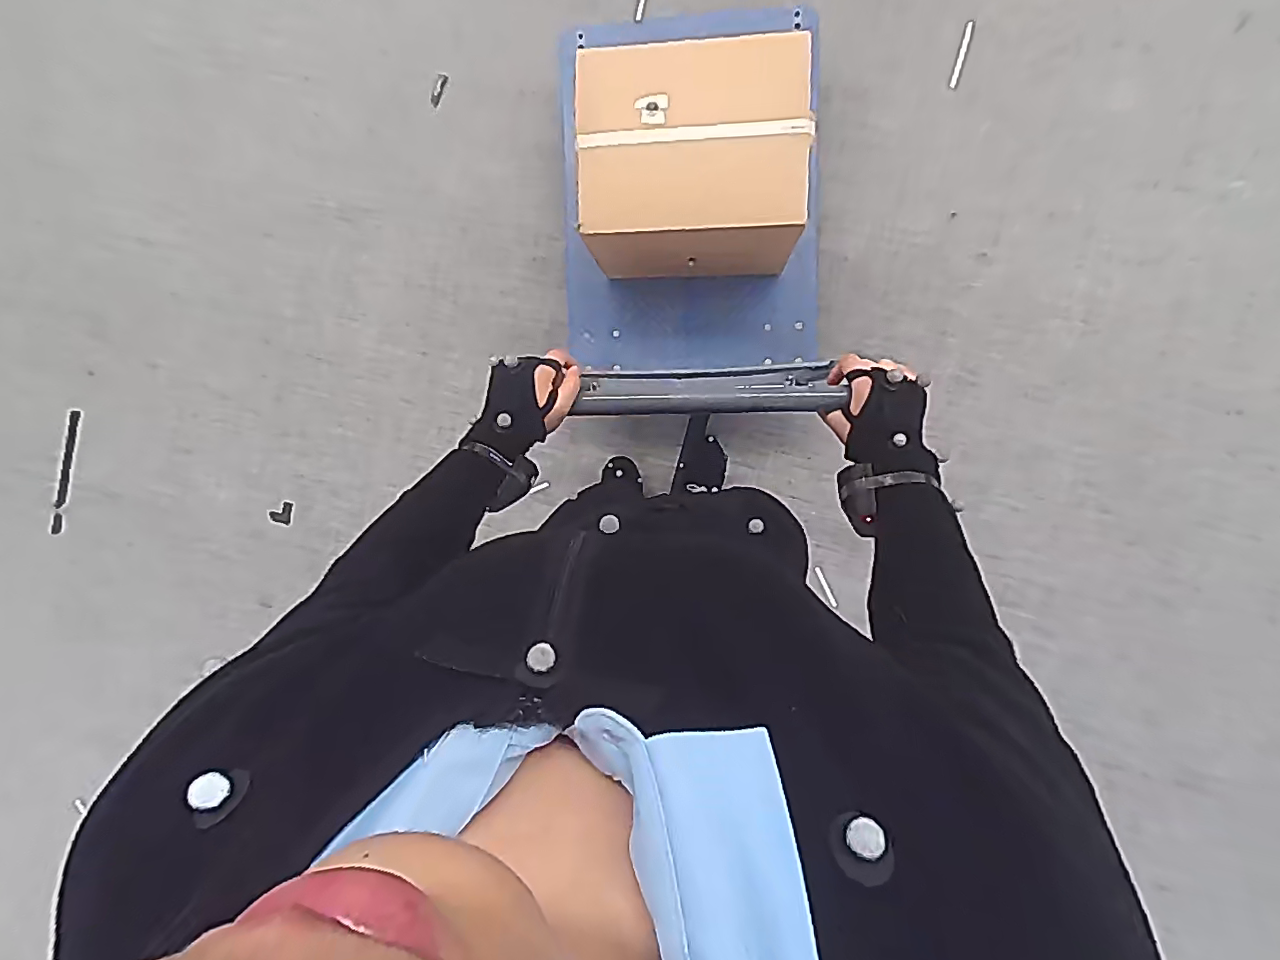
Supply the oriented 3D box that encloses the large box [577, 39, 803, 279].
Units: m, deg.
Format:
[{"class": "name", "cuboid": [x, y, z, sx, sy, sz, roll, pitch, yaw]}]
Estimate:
[{"class": "large box", "cuboid": [0.107, -0.616, 1.108, 0.408, 0.320, 0.320, 0, 95, 7]}]
